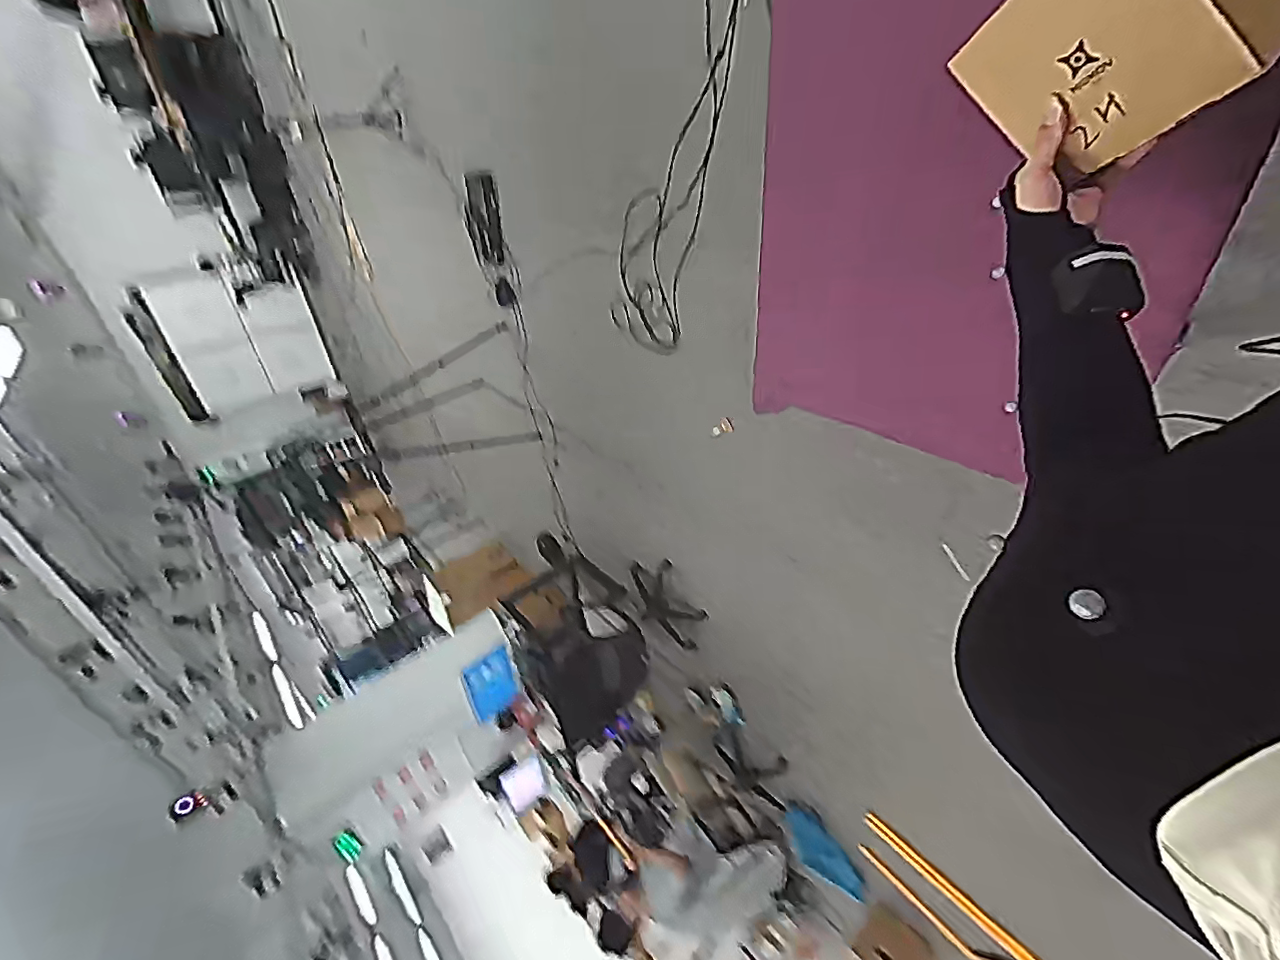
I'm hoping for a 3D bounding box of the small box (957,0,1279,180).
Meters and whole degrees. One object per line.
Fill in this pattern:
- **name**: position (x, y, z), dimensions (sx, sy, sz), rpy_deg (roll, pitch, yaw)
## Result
- **small box**: position (0.436, -0.421, 0.469), dimensions (0.179, 0.176, 0.168), rpy_deg (44, 173, -7)
